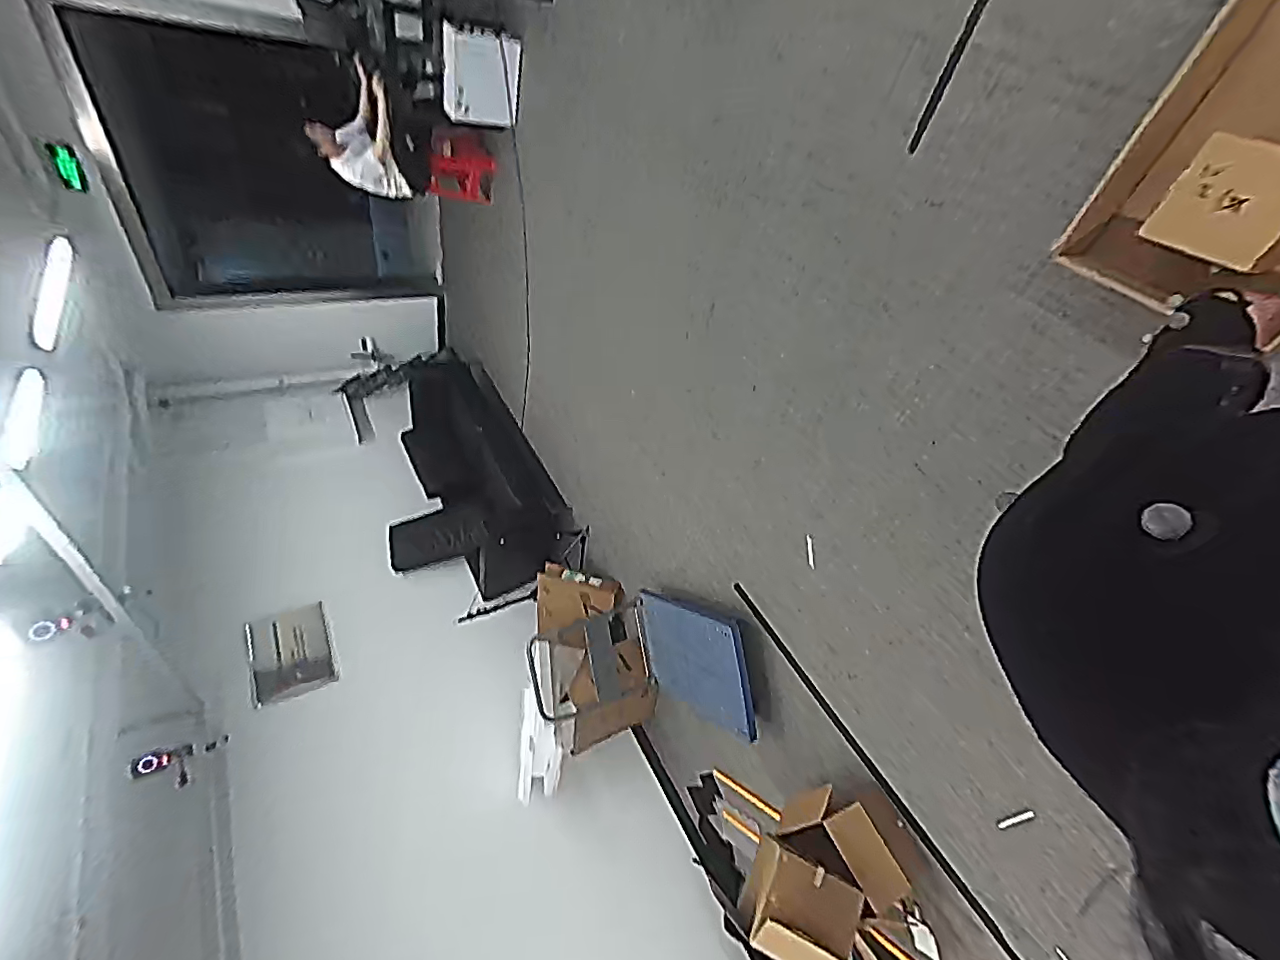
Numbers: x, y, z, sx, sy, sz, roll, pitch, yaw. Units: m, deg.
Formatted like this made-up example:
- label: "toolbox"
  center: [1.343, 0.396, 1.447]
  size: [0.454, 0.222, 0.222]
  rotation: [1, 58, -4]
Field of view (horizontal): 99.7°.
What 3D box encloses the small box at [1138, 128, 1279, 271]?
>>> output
- label: "small box"
  center: [1.022, -0.471, 0.911]
  size: [0.179, 0.176, 0.168]
  rotation: [52, 142, 36]
